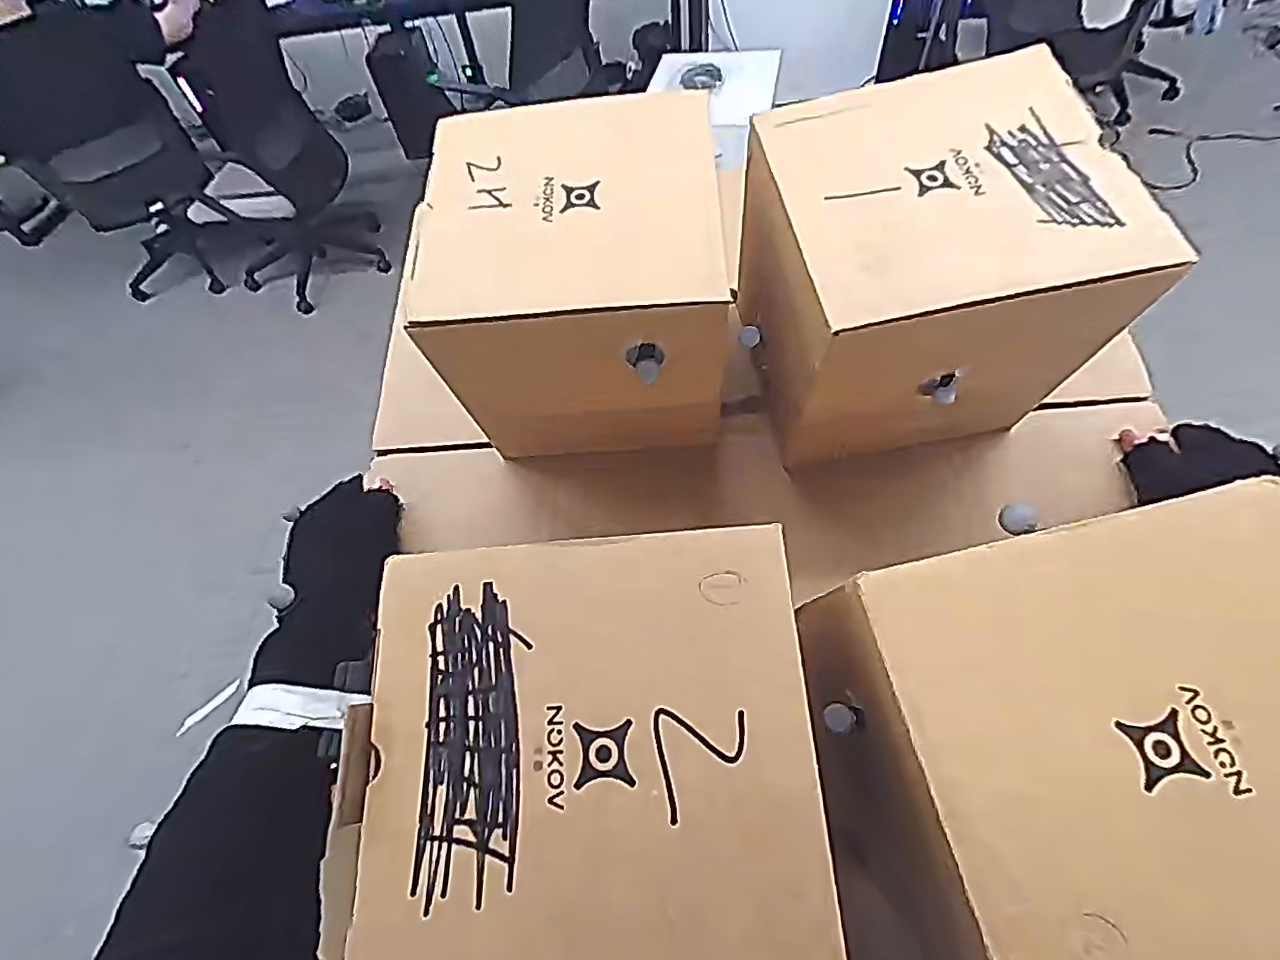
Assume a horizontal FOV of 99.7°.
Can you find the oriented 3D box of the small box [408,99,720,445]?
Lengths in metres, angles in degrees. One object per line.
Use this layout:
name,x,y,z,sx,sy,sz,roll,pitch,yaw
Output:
small box,-0.037,-0.135,0.399,0.179,0.176,0.168,-3,67,6
